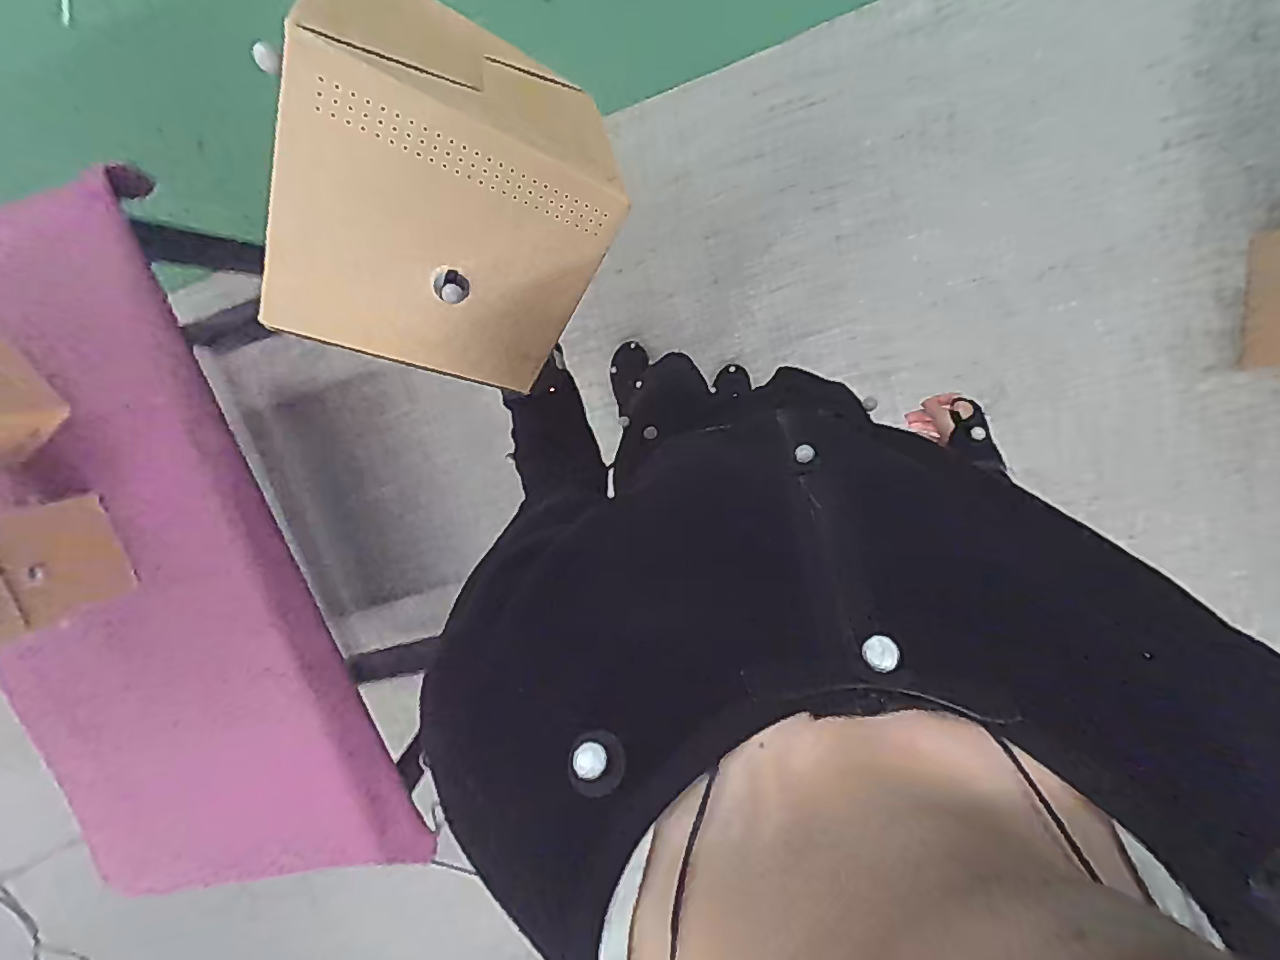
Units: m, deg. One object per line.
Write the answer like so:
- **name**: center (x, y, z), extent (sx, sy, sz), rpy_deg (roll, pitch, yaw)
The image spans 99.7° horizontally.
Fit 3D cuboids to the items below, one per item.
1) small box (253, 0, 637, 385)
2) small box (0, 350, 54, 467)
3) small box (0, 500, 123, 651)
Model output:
- **small box**: center (-0.130, -0.196, 0.356), extent (0.179, 0.168, 0.176), rpy_deg (11, 137, -32)
- **small box**: center (-1.013, -0.101, 0.761), extent (0.168, 0.176, 0.179), rpy_deg (-35, 99, 13)
- **small box**: center (-0.953, 0.145, 0.815), extent (0.168, 0.176, 0.179), rpy_deg (-11, 102, 7)
